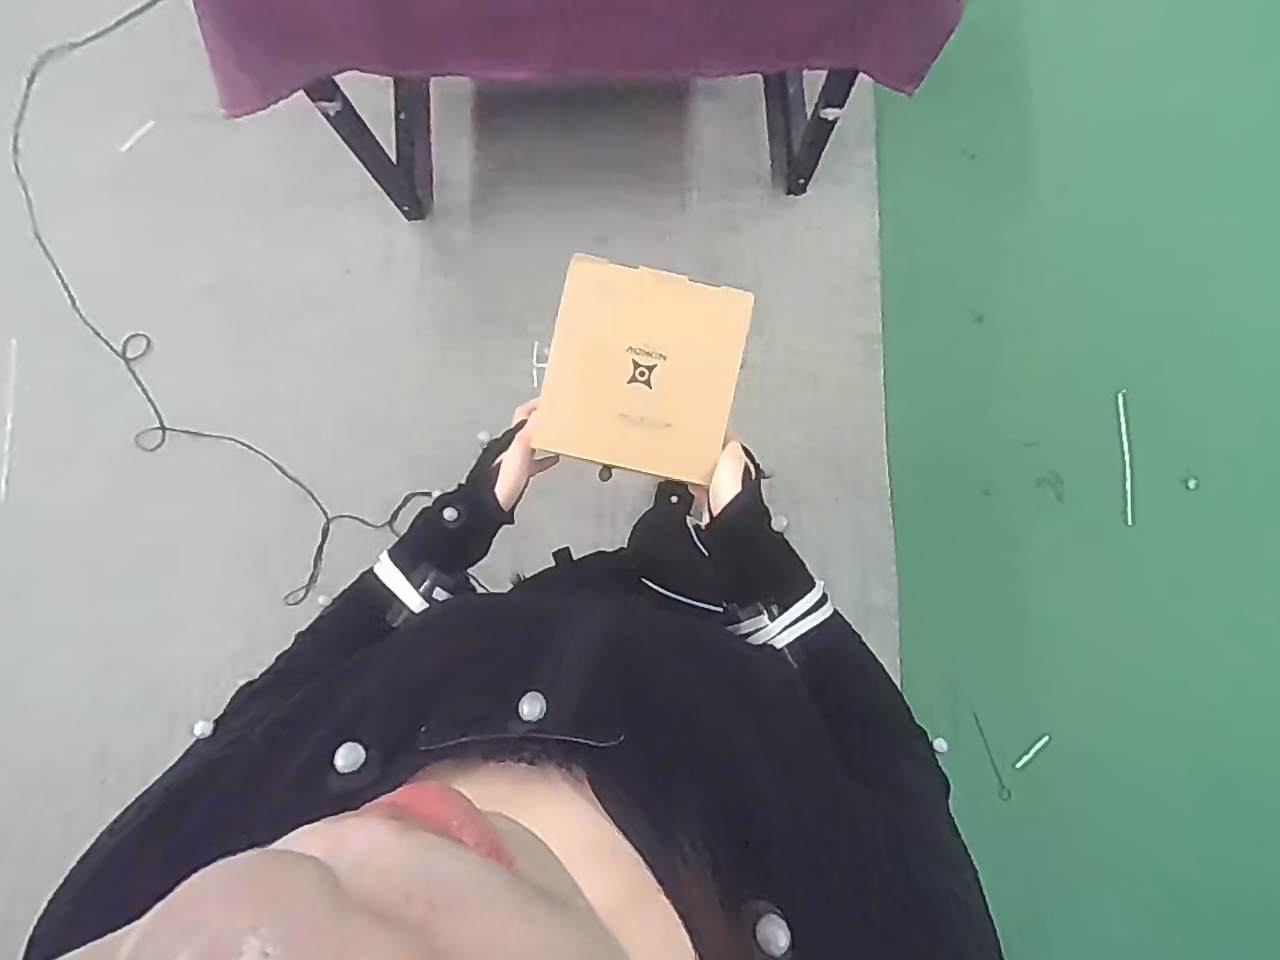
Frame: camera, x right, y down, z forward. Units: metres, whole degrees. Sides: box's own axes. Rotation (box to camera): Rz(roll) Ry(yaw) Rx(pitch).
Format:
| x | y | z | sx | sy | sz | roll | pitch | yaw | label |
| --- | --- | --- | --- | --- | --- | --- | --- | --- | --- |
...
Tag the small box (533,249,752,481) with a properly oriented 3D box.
| x | y | z | sx | sy | sz | roll | pitch | yaw | label |
| --- | --- | --- | --- | --- | --- | --- | --- | --- | --- |
| 0.001 | -0.102 | 0.554 | 0.168 | 0.176 | 0.179 | 13 | 91 | -1 | small box |
